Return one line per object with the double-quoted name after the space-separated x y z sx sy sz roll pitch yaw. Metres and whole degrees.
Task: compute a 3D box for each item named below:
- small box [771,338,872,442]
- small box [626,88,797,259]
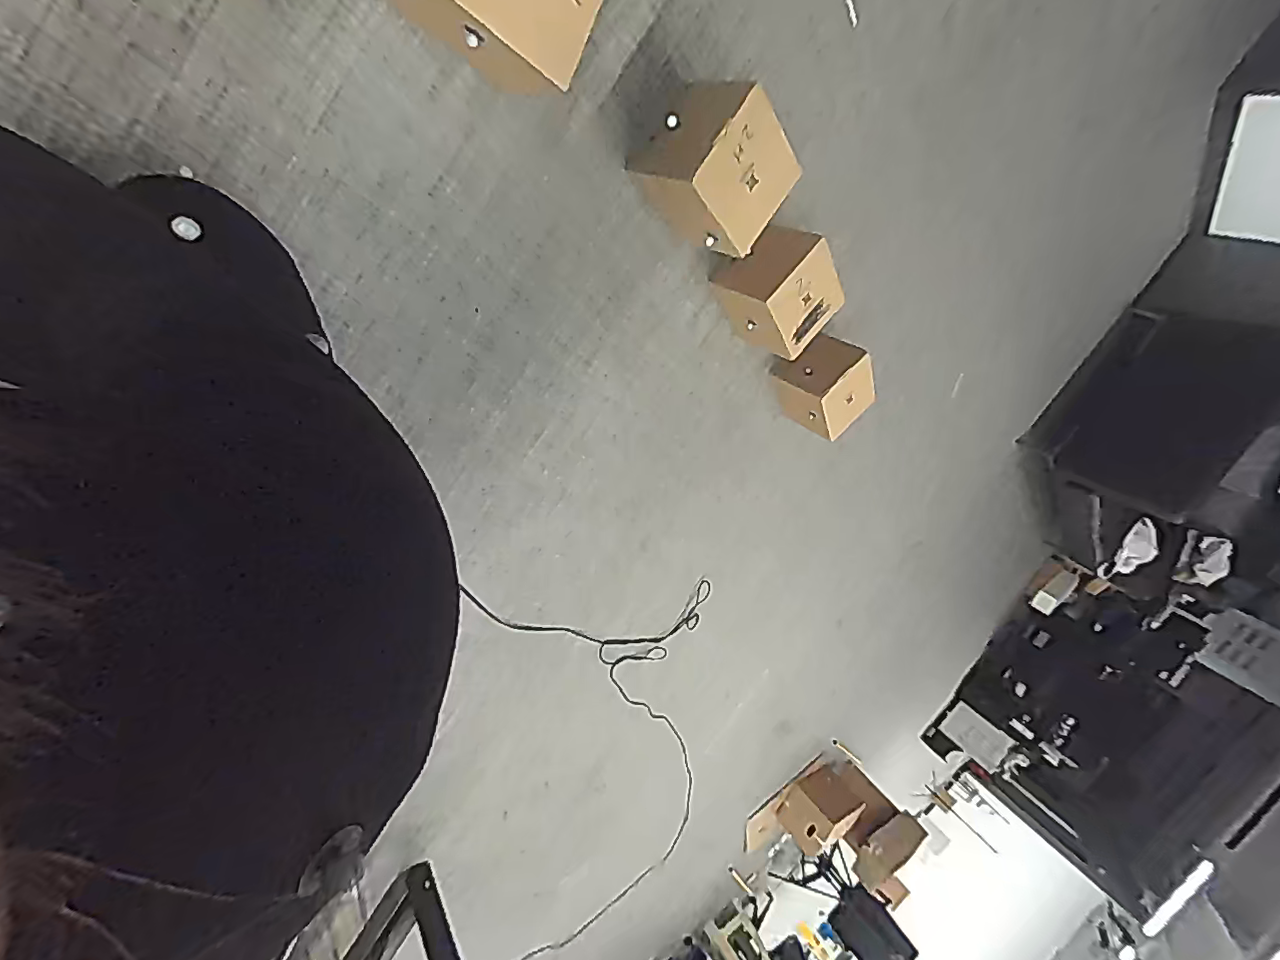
0.451 -0.233 1.352 0.168 0.176 0.179 -44 138 -6 "small box"
0.113 -0.496 0.876 0.179 0.176 0.168 30 97 -47 "small box"
